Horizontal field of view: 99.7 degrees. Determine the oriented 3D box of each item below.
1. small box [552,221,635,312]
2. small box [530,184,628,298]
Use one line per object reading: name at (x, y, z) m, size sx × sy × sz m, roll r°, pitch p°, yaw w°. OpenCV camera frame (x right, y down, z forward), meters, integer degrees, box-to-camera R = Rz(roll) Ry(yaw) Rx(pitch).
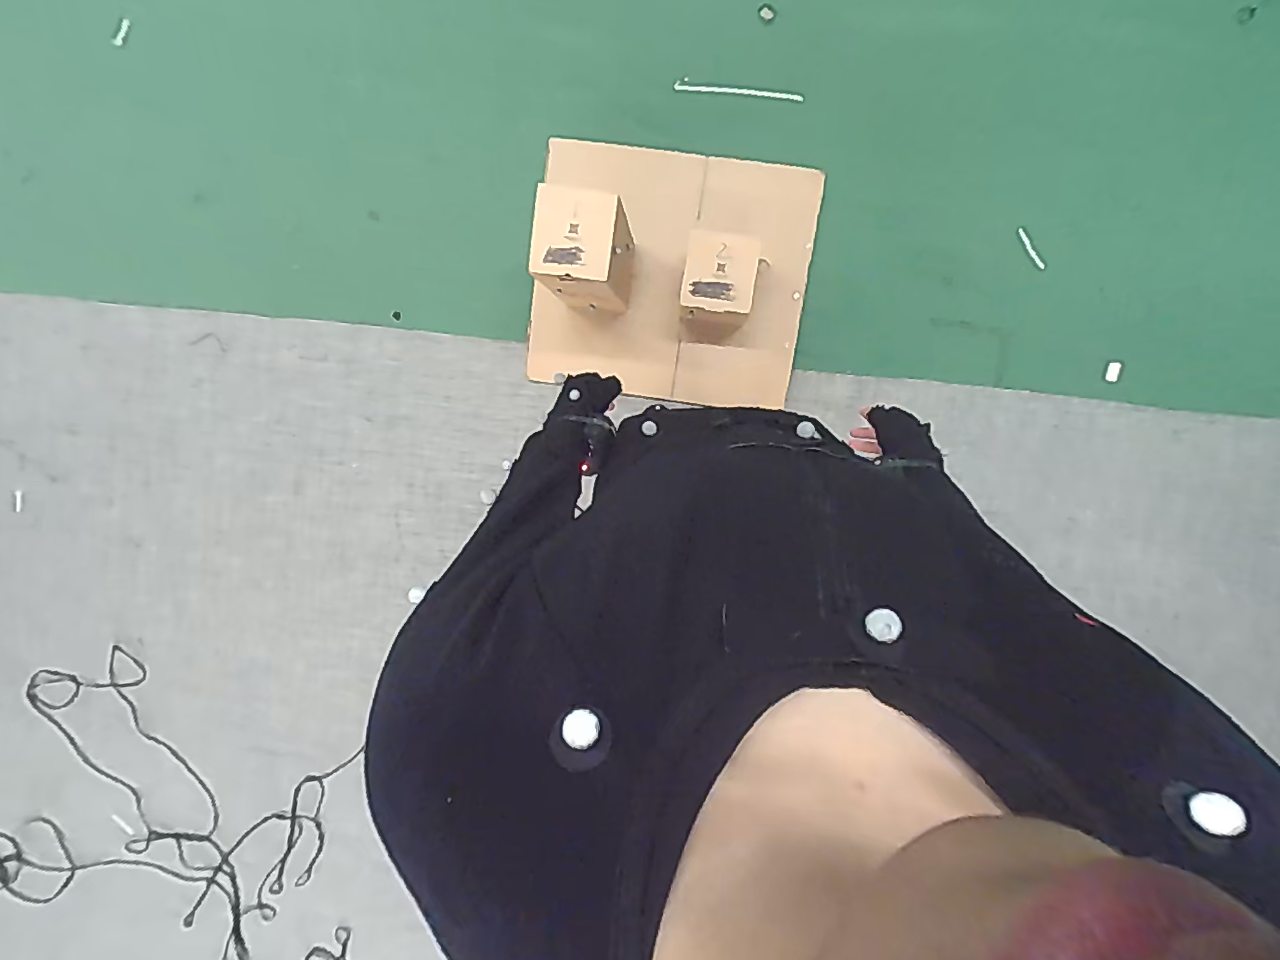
small box at (-0.107, -0.519, 1.315) m, size 0.168 × 0.176 × 0.179 m, roll 8°, pitch 98°, yaw 5°
small box at (-0.122, -0.499, 1.153) m, size 0.168 × 0.176 × 0.179 m, roll 9°, pitch 97°, yaw 4°
